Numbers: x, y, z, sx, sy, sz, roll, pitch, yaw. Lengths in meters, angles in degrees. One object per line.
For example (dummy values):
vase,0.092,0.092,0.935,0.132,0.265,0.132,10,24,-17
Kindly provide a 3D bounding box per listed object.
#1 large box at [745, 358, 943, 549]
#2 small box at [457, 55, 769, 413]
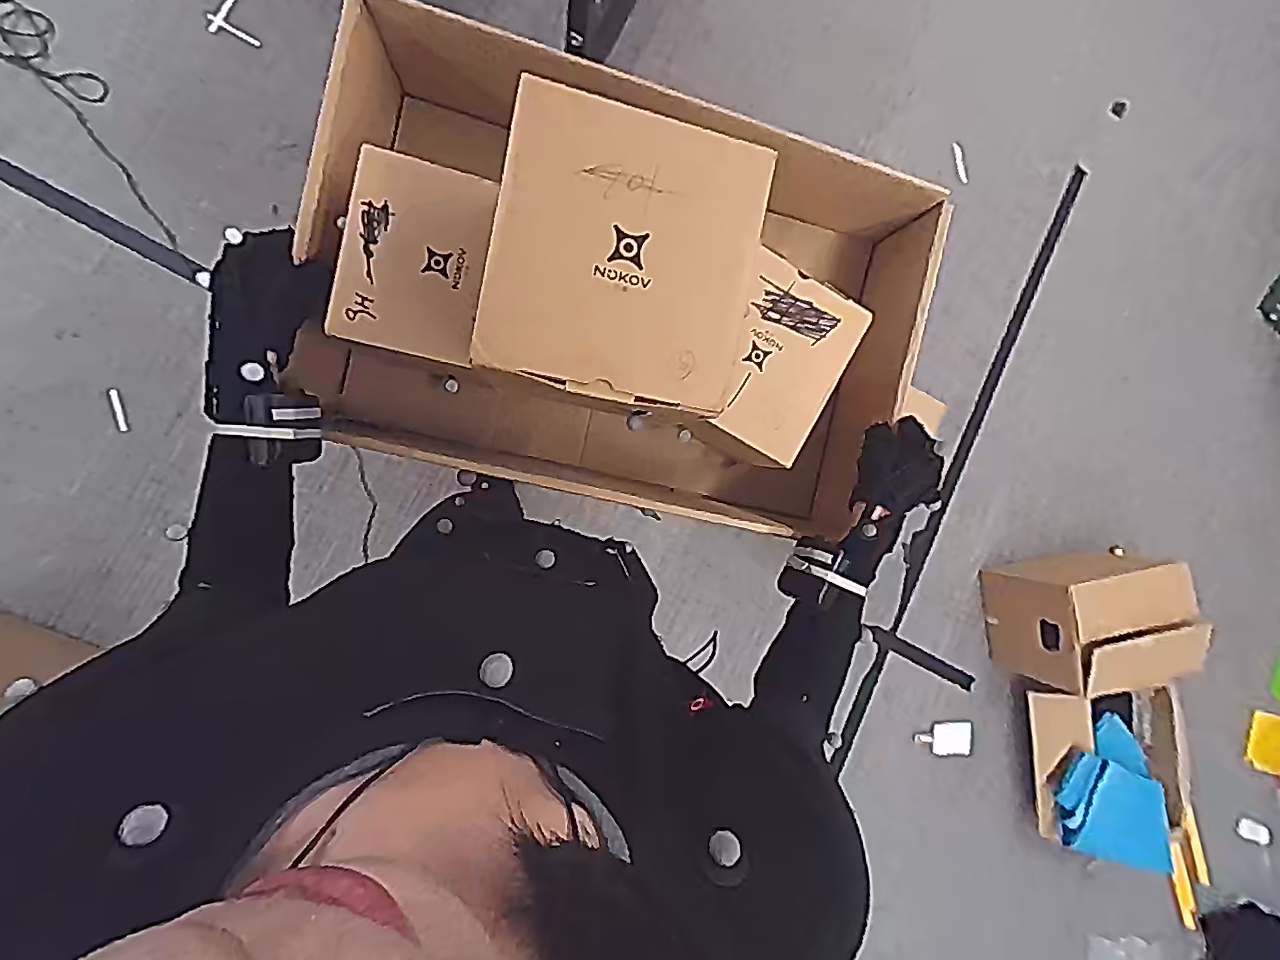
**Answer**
large box,0.546,-0.065,1.500,0.320,0.320,0.408,25,85,-8
small box,-0.026,-0.151,0.405,0.168,0.176,0.179,10,92,-10
